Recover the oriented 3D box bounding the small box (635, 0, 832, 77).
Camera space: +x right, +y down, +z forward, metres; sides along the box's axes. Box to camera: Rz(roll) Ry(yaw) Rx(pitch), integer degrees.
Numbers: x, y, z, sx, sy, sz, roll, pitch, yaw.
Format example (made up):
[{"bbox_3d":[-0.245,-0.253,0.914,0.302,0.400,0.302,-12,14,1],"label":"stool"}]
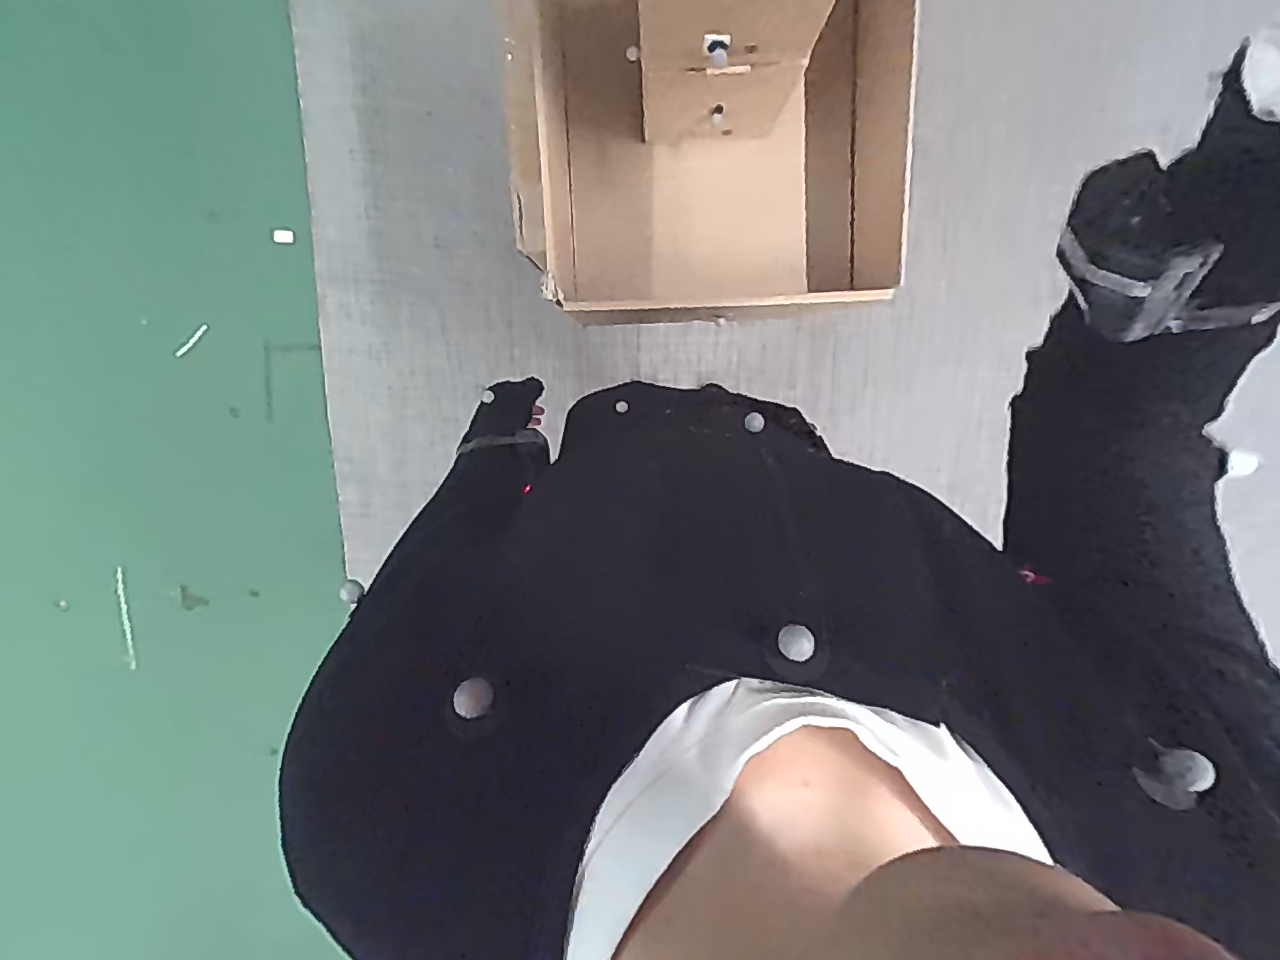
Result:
[{"bbox_3d":[0.075,-0.478,0.445,0.168,0.176,0.179,-4,100,2],"label":"small box"}]
